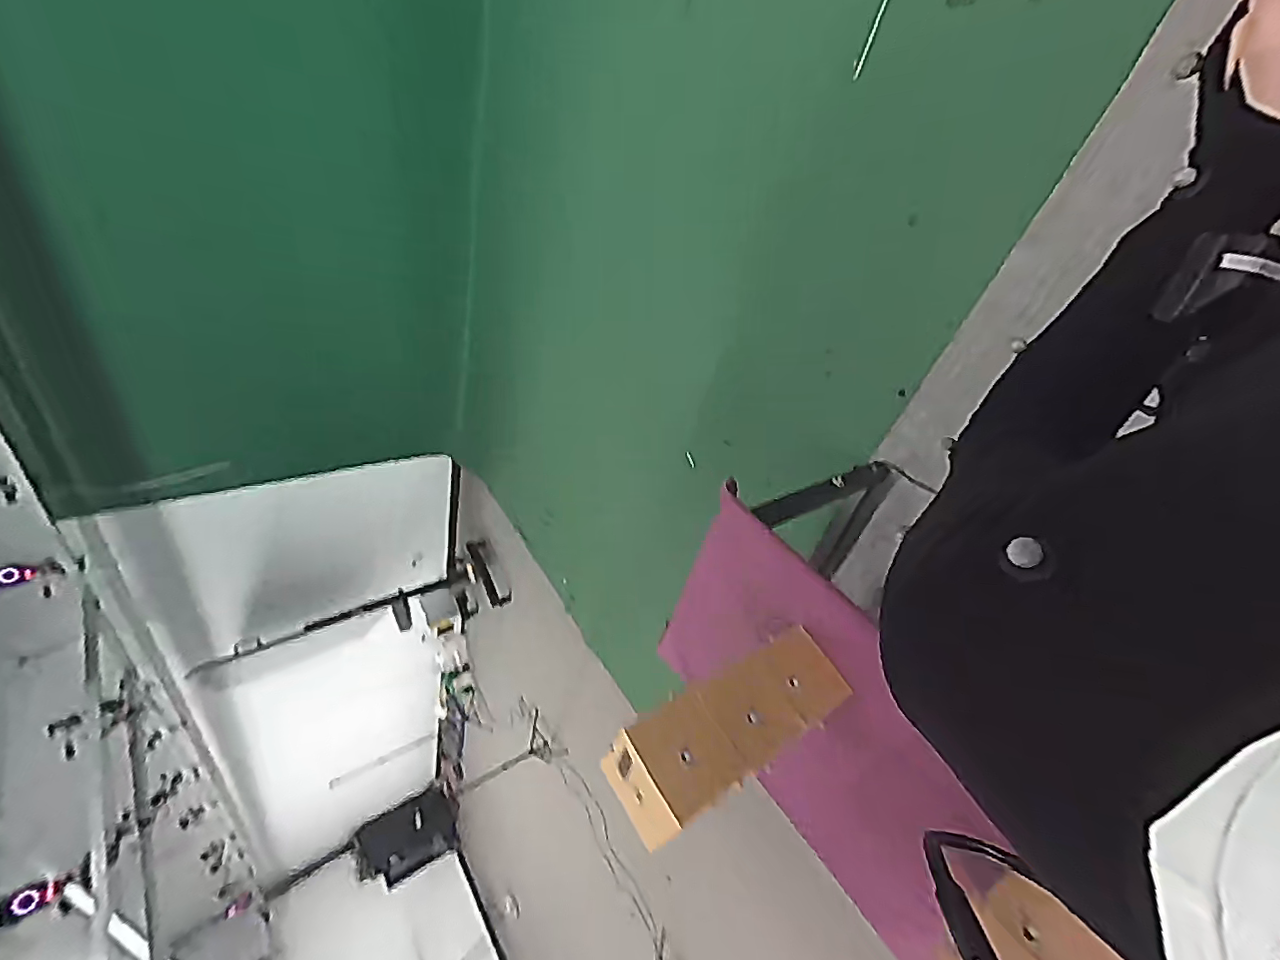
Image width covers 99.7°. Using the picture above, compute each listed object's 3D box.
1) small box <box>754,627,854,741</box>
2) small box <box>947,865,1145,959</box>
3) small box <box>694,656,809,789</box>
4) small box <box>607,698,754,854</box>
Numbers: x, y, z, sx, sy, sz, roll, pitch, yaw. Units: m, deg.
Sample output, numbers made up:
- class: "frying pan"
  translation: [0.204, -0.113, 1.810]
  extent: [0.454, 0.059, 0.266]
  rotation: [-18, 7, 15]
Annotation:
- class: "small box"
  translation: [0.326, 0.453, 1.178]
  extent: [0.179, 0.176, 0.168]
  rotation: [54, 139, 25]
- class: "small box"
  translation: [0.648, 0.768, 0.870]
  extent: [0.179, 0.176, 0.168]
  rotation: [41, 133, 36]
- class: "small box"
  translation: [0.200, 0.488, 1.080]
  extent: [0.179, 0.176, 0.168]
  rotation: [51, 137, 27]
- class: "small box"
  translation: [0.071, 0.526, 0.985]
  extent: [0.179, 0.176, 0.168]
  rotation: [50, 137, 28]
